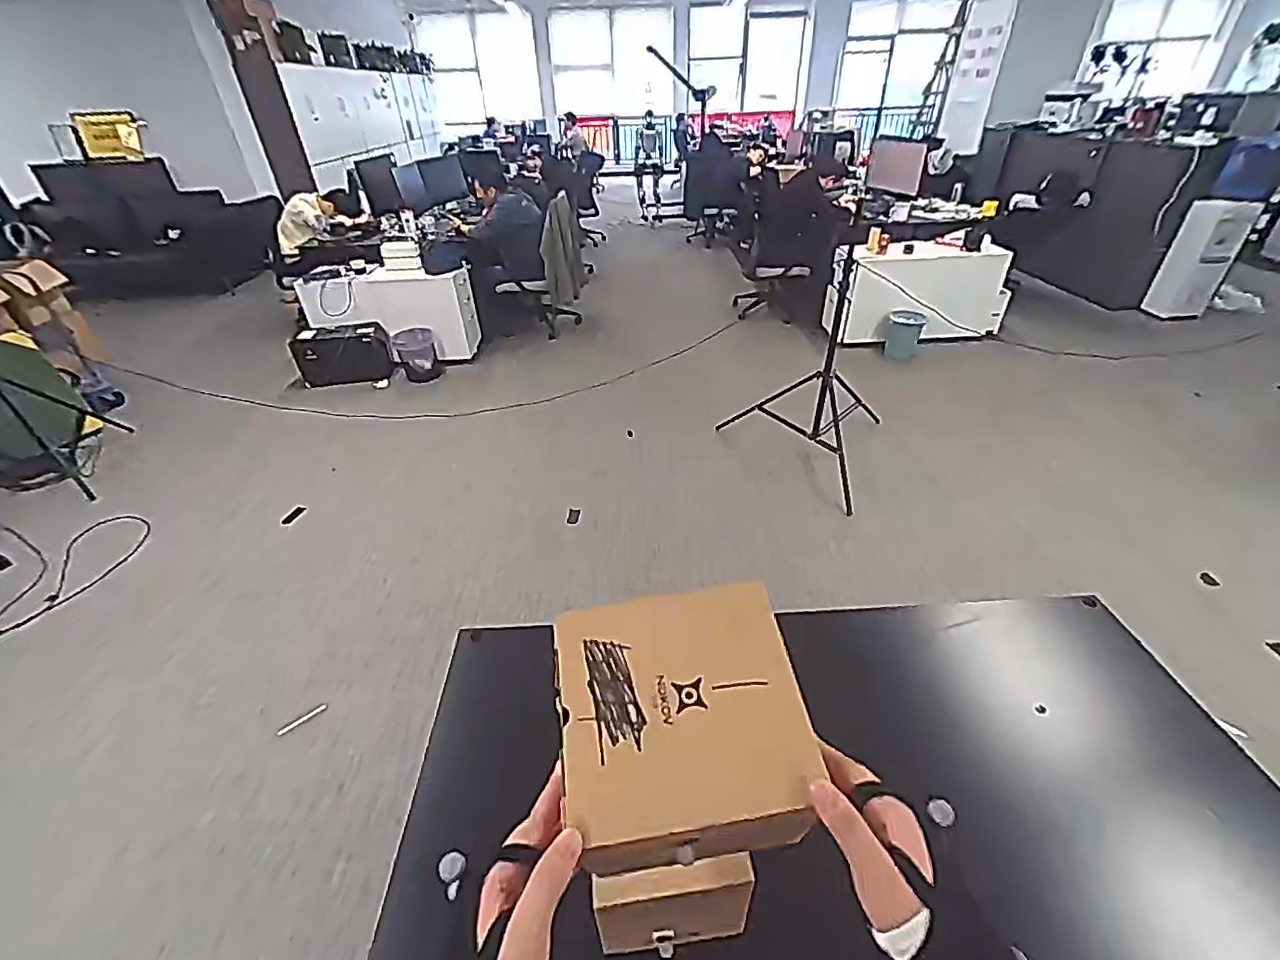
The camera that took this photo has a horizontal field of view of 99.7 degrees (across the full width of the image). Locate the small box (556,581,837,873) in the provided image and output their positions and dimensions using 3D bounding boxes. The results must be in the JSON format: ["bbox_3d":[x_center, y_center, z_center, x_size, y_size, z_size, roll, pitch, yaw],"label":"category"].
[{"bbox_3d":[0.035,0.207,0.446,0.179,0.176,0.168,-9,51,-3],"label":"small box"}]

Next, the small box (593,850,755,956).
[{"bbox_3d":[0.028,0.428,0.653,0.168,0.176,0.179,-7,37,-5],"label":"small box"}]
